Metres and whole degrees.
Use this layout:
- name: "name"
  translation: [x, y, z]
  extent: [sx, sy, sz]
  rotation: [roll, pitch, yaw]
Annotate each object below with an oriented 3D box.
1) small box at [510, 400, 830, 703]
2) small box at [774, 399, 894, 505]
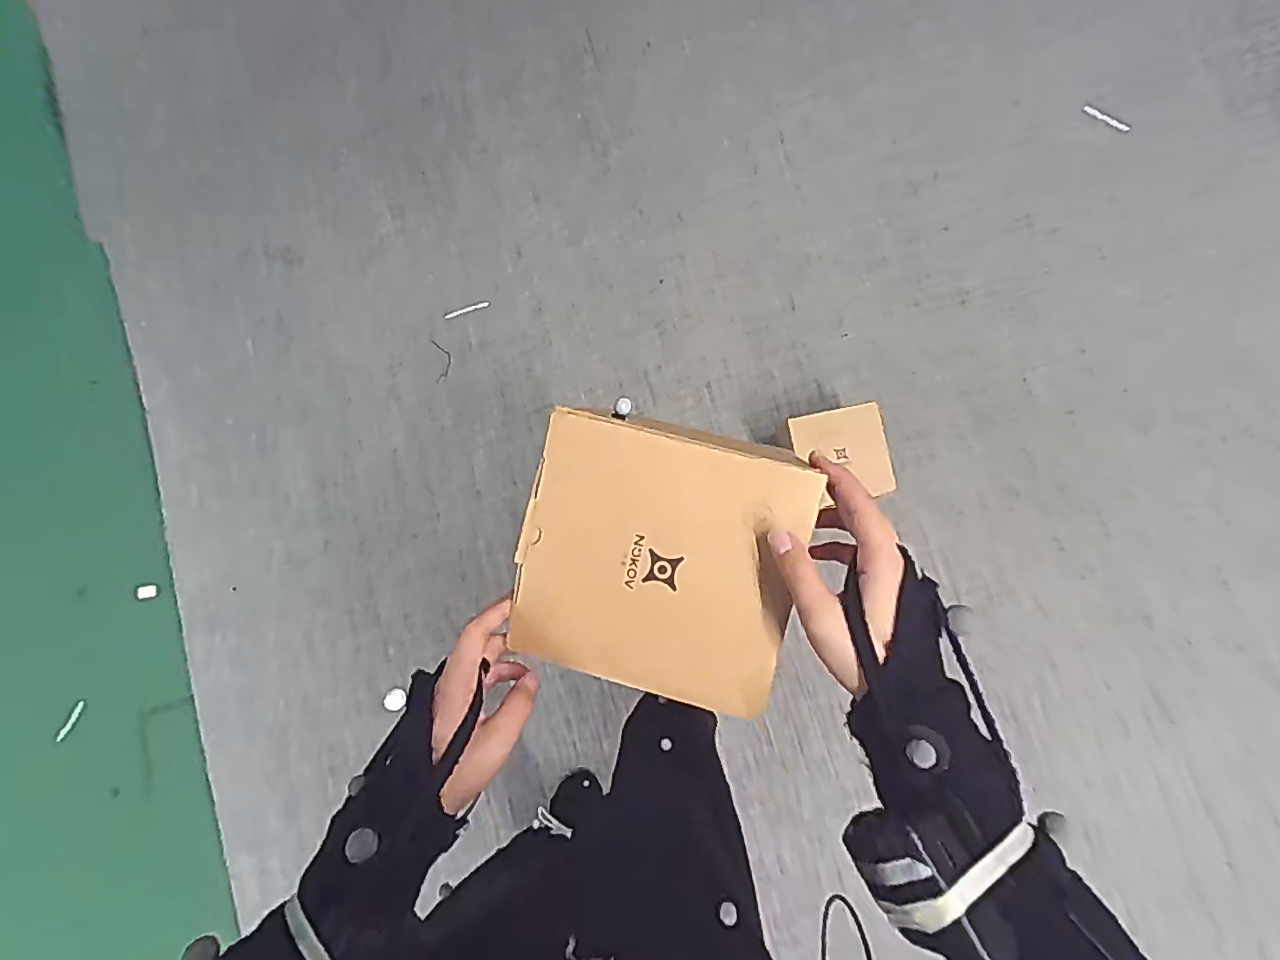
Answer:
- name: "small box"
  translation: [0.025, 0.036, 0.420]
  extent: [0.179, 0.176, 0.168]
  rotation: [14, 99, 8]
- name: "small box"
  translation: [0.372, -0.045, 1.062]
  extent: [0.168, 0.176, 0.179]
  rotation: [-11, 85, 4]
